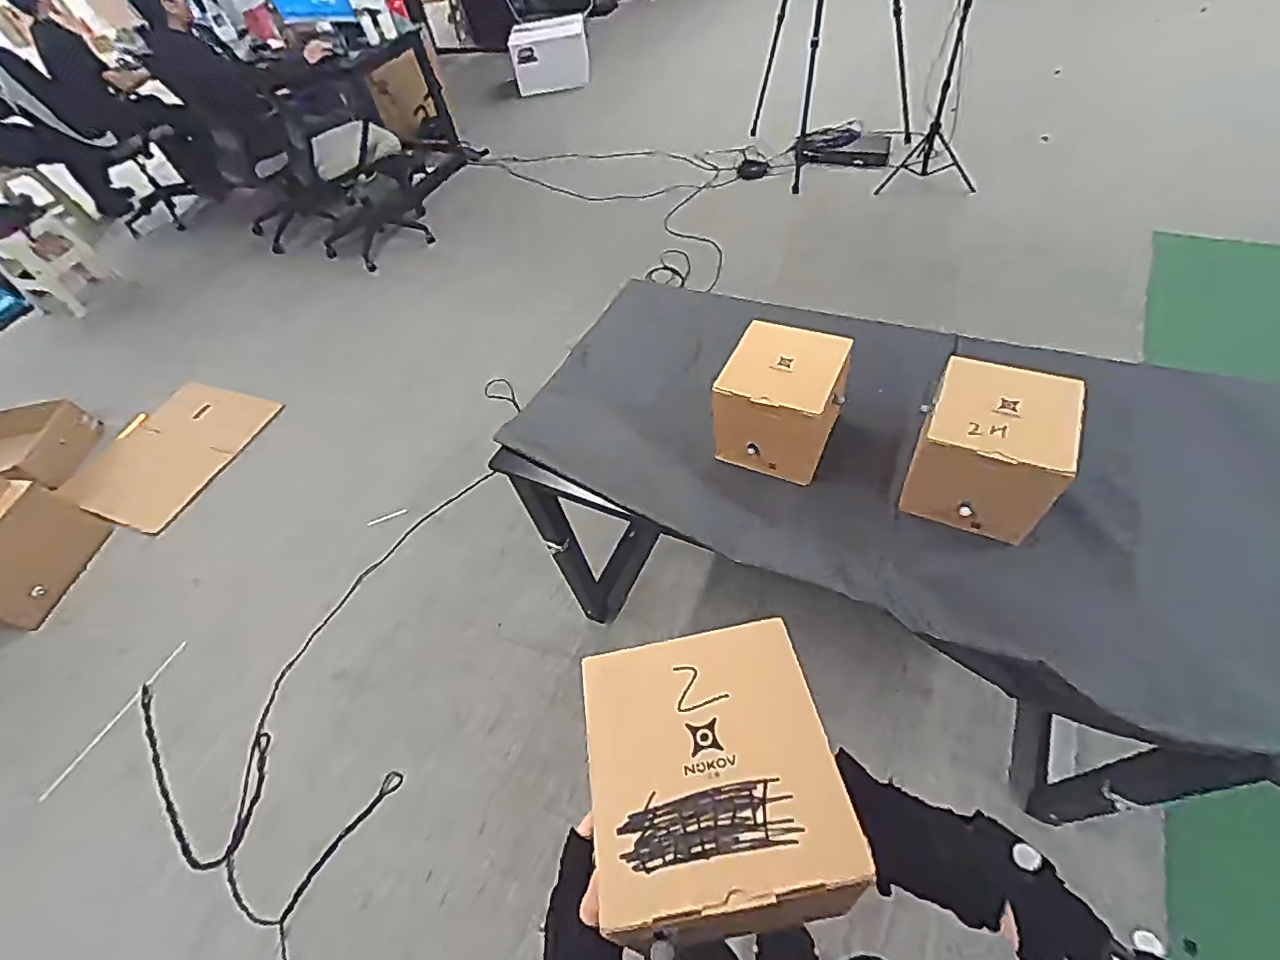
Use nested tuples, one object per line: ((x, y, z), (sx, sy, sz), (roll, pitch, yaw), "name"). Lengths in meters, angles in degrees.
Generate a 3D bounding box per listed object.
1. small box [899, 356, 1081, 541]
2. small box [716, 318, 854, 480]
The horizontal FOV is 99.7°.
((0.494, -0.045, 0.781), (0.168, 0.176, 0.179), (20, 59, 22), "small box")
((0.231, -0.132, 0.889), (0.168, 0.176, 0.179), (19, 59, 21), "small box")
